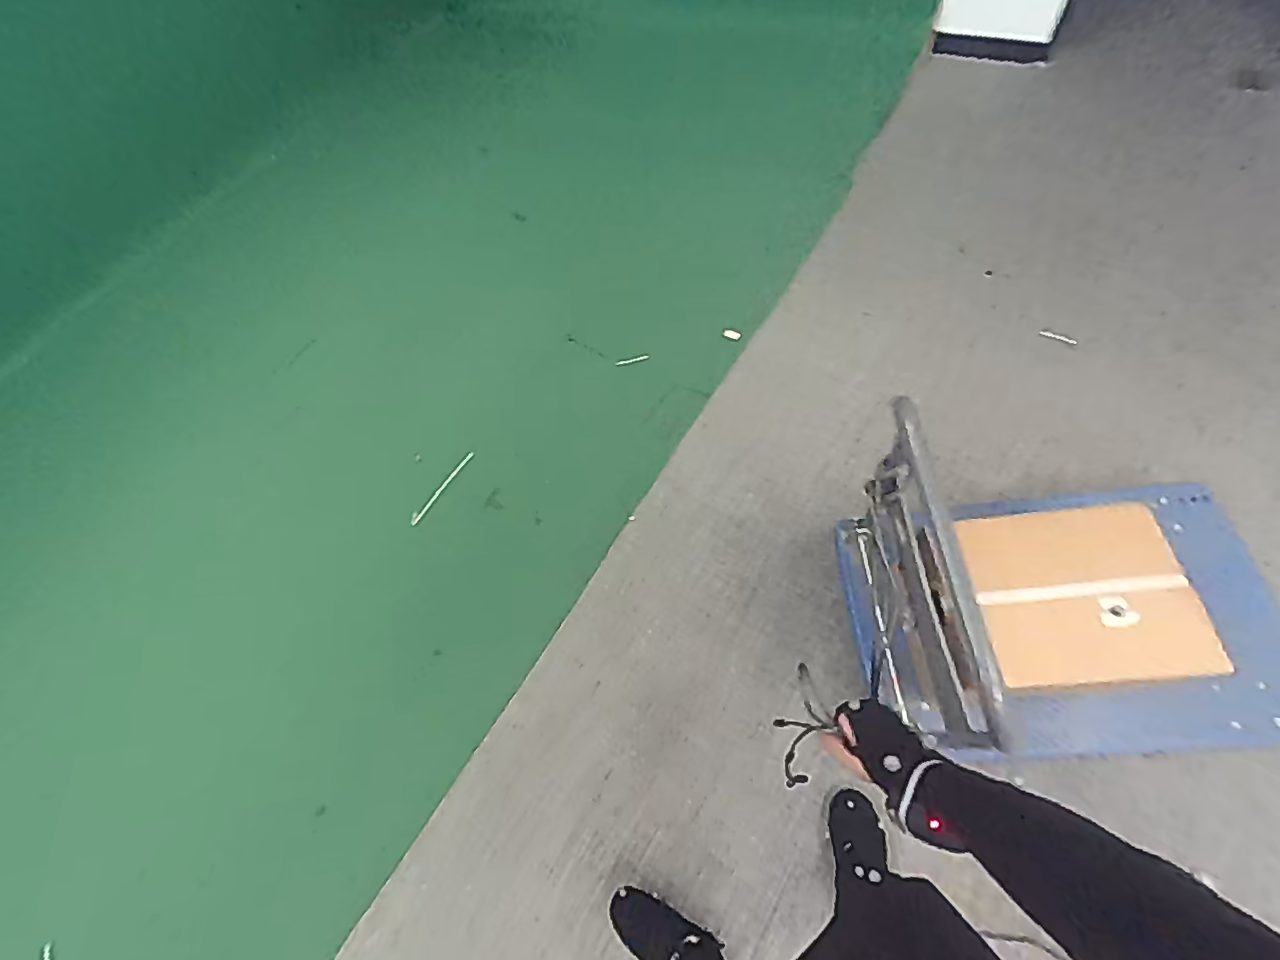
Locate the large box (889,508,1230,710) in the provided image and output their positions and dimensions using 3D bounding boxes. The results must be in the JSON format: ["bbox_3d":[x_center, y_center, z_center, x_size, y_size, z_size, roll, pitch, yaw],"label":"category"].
[{"bbox_3d":[0.791,0.279,1.108,0.408,0.320,0.320,-7,63,7],"label":"large box"}]
